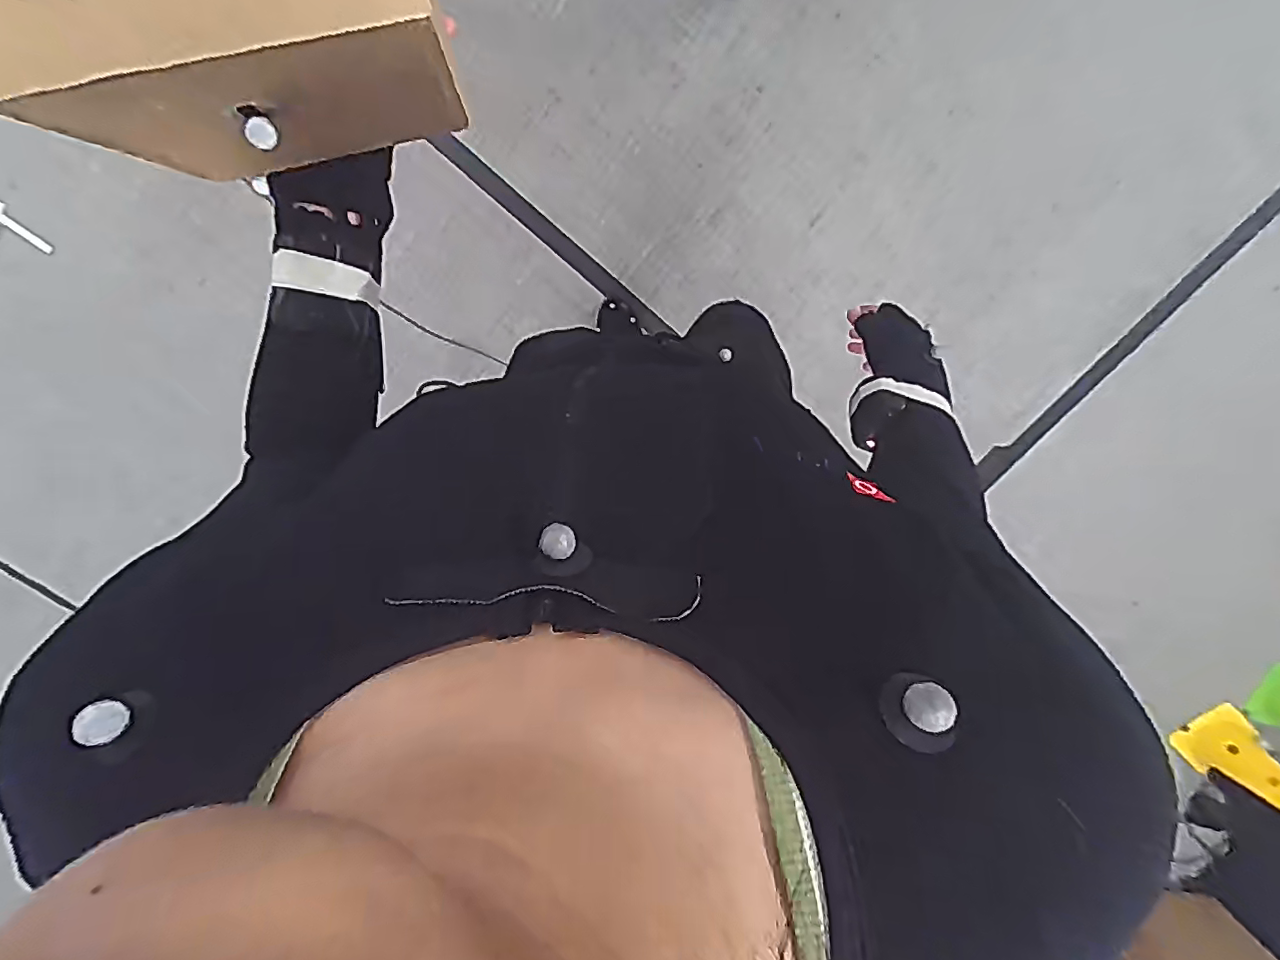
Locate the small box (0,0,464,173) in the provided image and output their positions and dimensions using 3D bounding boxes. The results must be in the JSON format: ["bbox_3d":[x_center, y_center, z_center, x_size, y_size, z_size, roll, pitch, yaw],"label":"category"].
[{"bbox_3d":[-0.206,-0.271,0.261,0.179,0.176,0.168,-19,111,-4],"label":"small box"}]
